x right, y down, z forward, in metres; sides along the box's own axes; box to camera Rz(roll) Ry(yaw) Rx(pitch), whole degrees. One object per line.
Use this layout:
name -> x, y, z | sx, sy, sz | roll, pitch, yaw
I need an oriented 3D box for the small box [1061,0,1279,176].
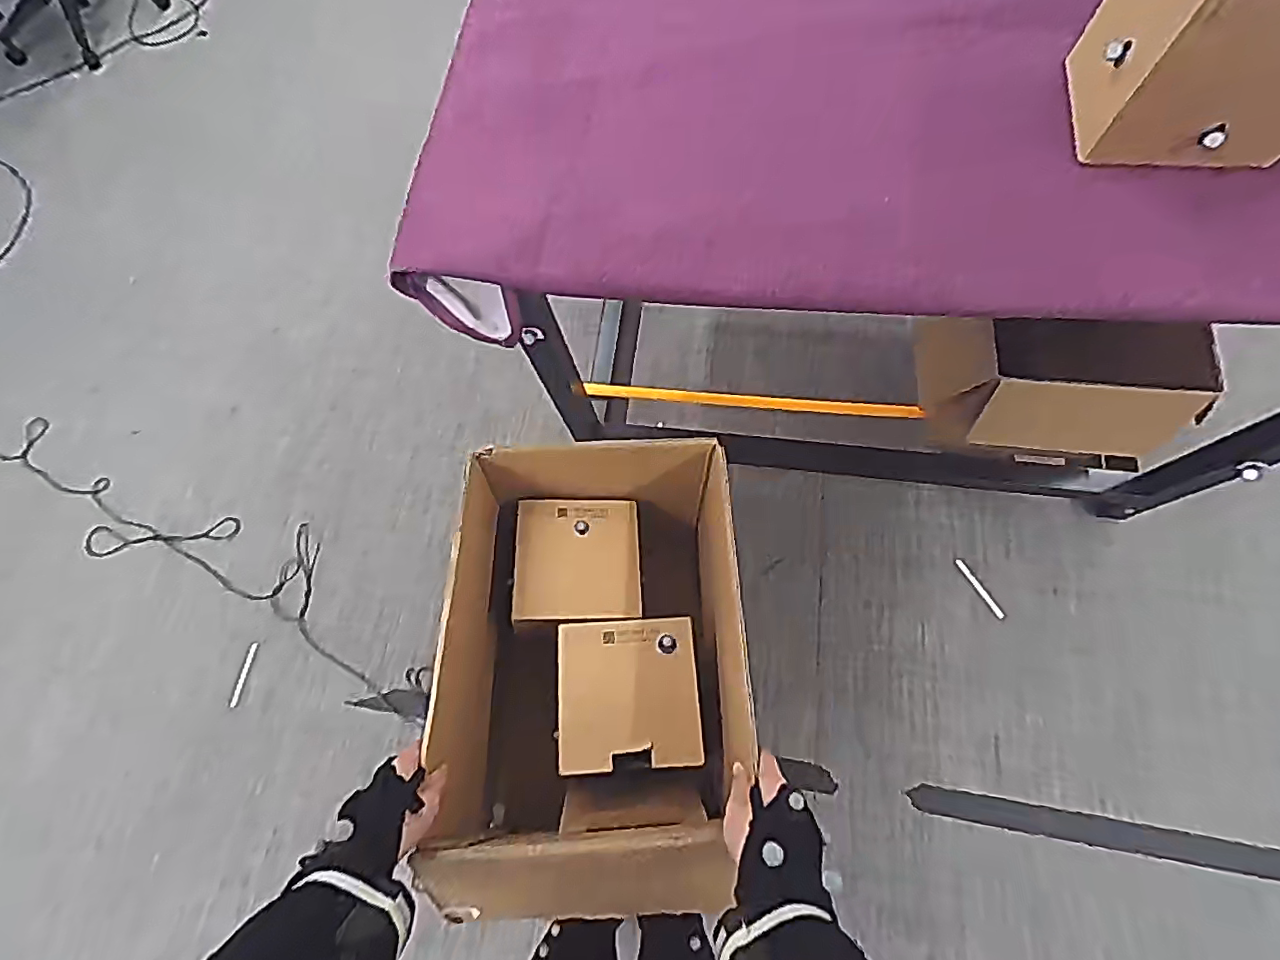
small box -> 0.559, -0.428, 0.521 | 0.179, 0.176, 0.168 | 7, 70, 9
